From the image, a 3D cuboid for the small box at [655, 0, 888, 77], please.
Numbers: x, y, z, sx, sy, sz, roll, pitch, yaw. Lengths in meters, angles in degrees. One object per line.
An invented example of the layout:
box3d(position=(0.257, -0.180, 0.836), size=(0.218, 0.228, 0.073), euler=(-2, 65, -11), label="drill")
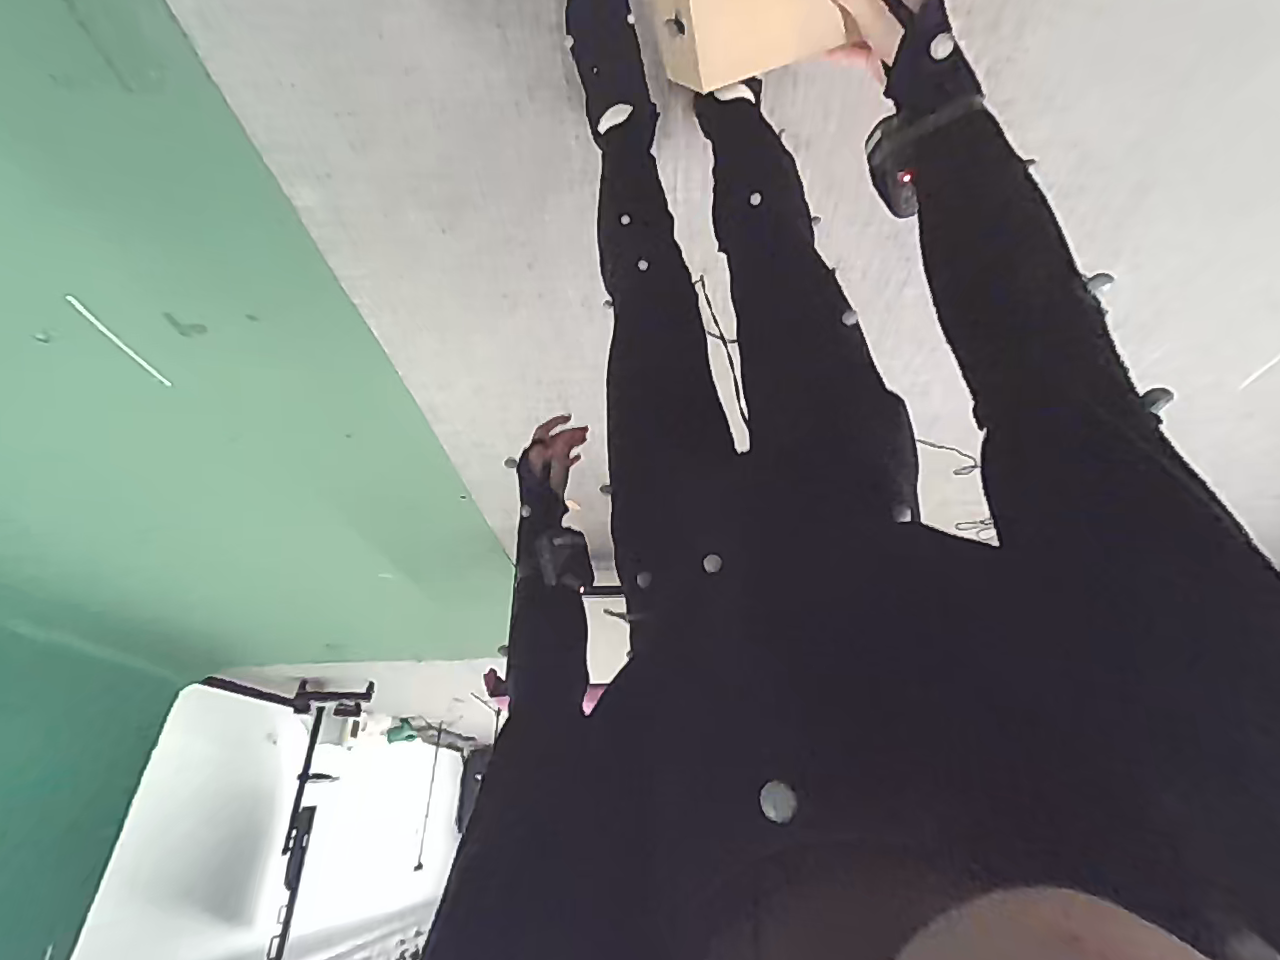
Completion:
box3d(position=(0.096, -0.476, 0.457), size=(0.168, 0.176, 0.179), euler=(-16, 131, 3), label="small box")
